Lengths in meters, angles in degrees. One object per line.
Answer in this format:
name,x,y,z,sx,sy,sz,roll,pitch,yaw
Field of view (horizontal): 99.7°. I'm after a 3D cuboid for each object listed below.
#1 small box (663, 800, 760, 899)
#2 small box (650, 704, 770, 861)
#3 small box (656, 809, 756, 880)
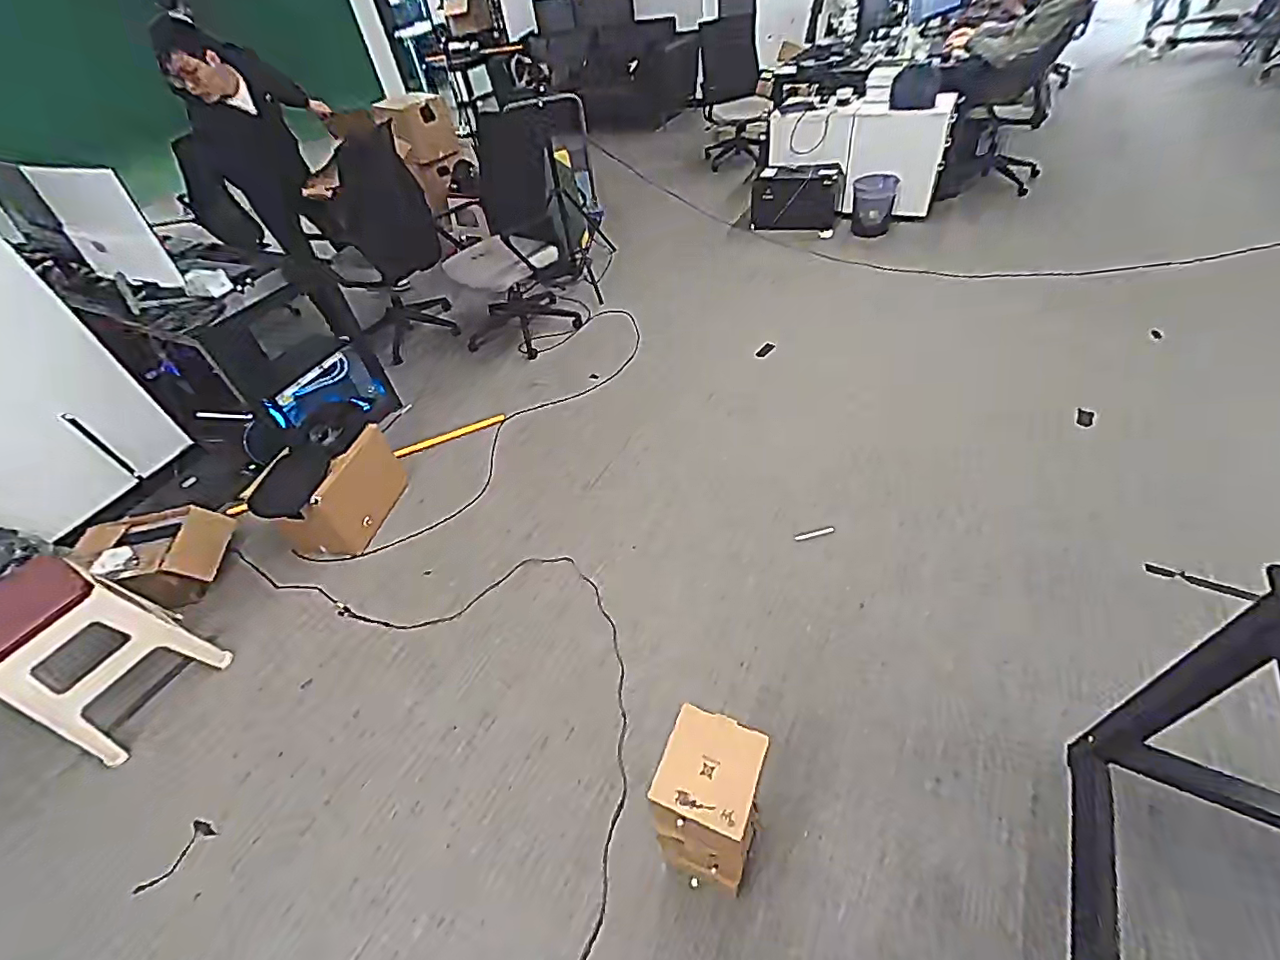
small box,0.163,0.794,1.210,0.168,0.176,0.179,14,50,22
small box,0.130,0.553,0.991,0.168,0.176,0.179,14,49,22
small box,0.144,0.676,1.101,0.168,0.176,0.179,11,47,19
